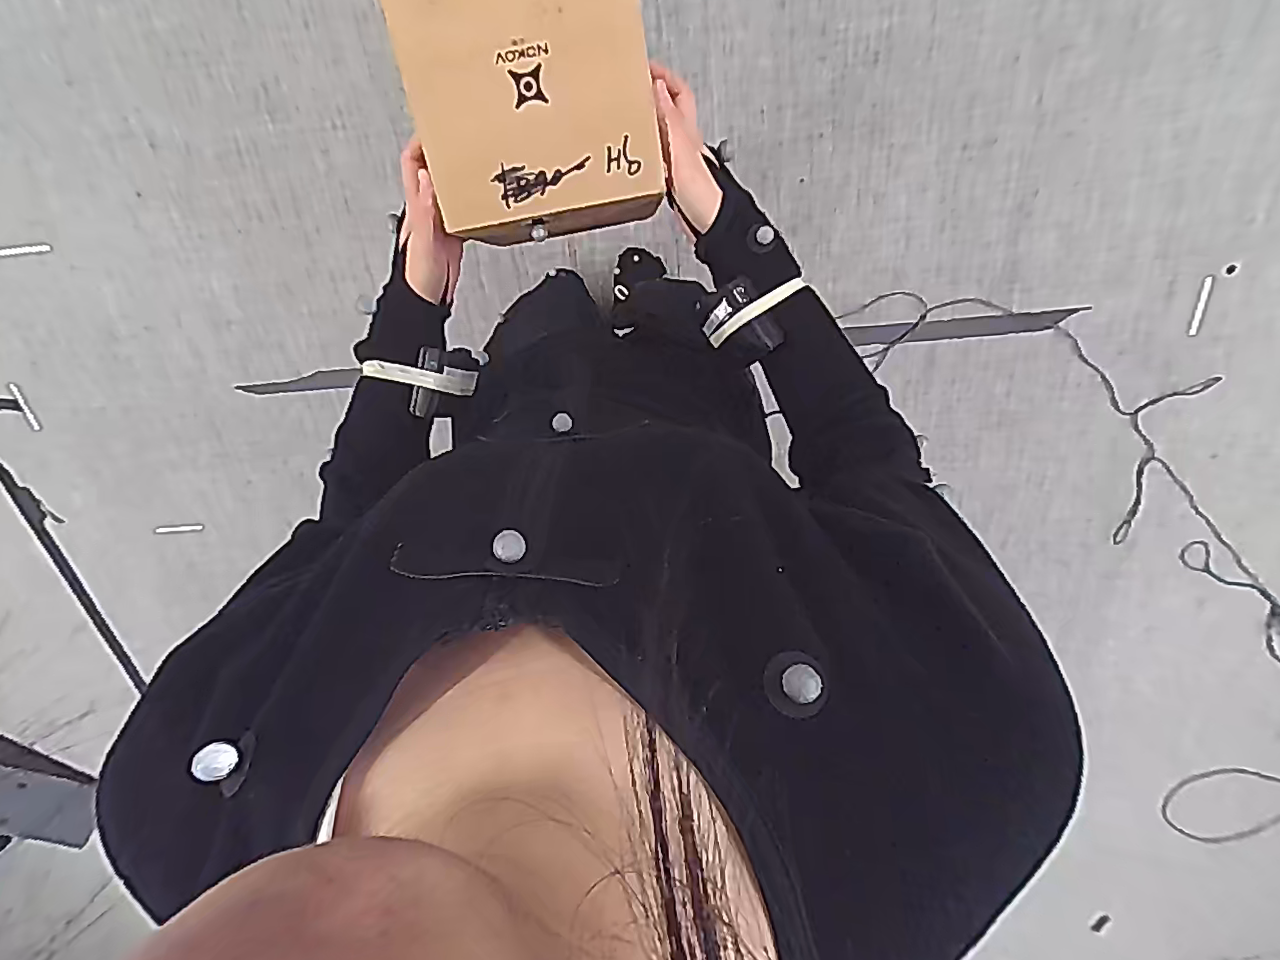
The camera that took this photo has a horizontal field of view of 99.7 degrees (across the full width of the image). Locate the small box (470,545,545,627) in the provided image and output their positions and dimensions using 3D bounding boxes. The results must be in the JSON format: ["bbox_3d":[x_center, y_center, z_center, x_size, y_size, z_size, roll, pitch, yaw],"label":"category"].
[{"bbox_3d":[-0.394,0.312,1.624,0.179,0.176,0.168,10,113,-5],"label":"small box"}]

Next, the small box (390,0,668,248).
[{"bbox_3d":[-0.076,-0.299,0.437,0.168,0.176,0.179,-10,110,2],"label":"small box"}]
